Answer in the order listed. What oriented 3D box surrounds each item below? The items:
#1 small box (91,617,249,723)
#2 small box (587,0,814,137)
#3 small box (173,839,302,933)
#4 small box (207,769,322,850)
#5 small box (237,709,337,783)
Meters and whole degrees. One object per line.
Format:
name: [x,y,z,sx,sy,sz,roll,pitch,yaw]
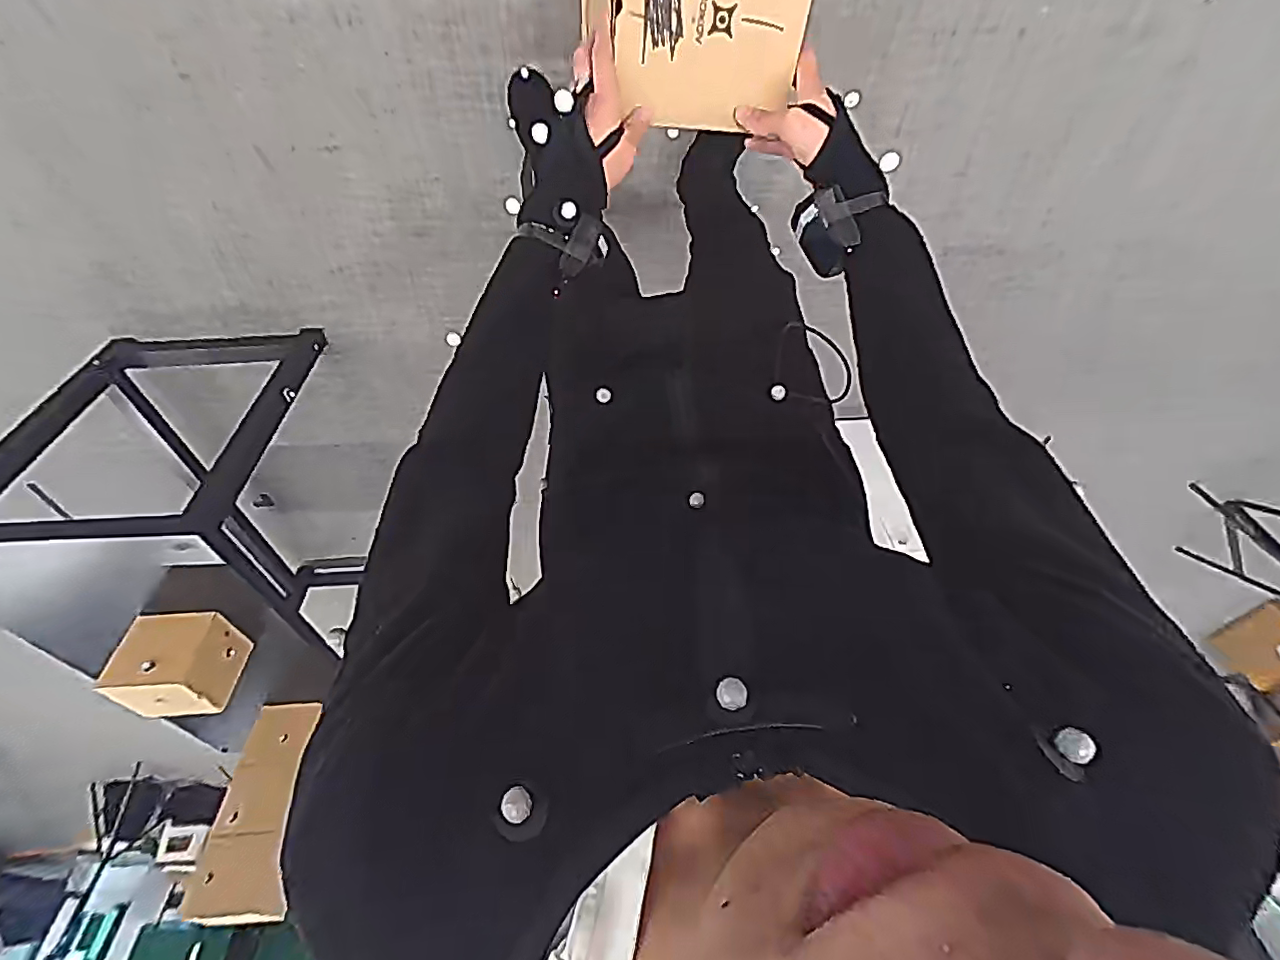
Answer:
small box: [-1.032,0.422,1.207,0.179,0.176,0.168,-3,137,-3]
small box: [0.047,-0.443,0.513,0.179,0.176,0.168,-4,133,-13]
small box: [-1.006,1.028,1.372,0.179,0.176,0.168,-4,138,-2]
small box: [-1.018,0.911,1.484,0.179,0.176,0.168,-3,137,-2]
small box: [-1.026,0.791,1.597,0.179,0.176,0.168,-4,136,-2]
